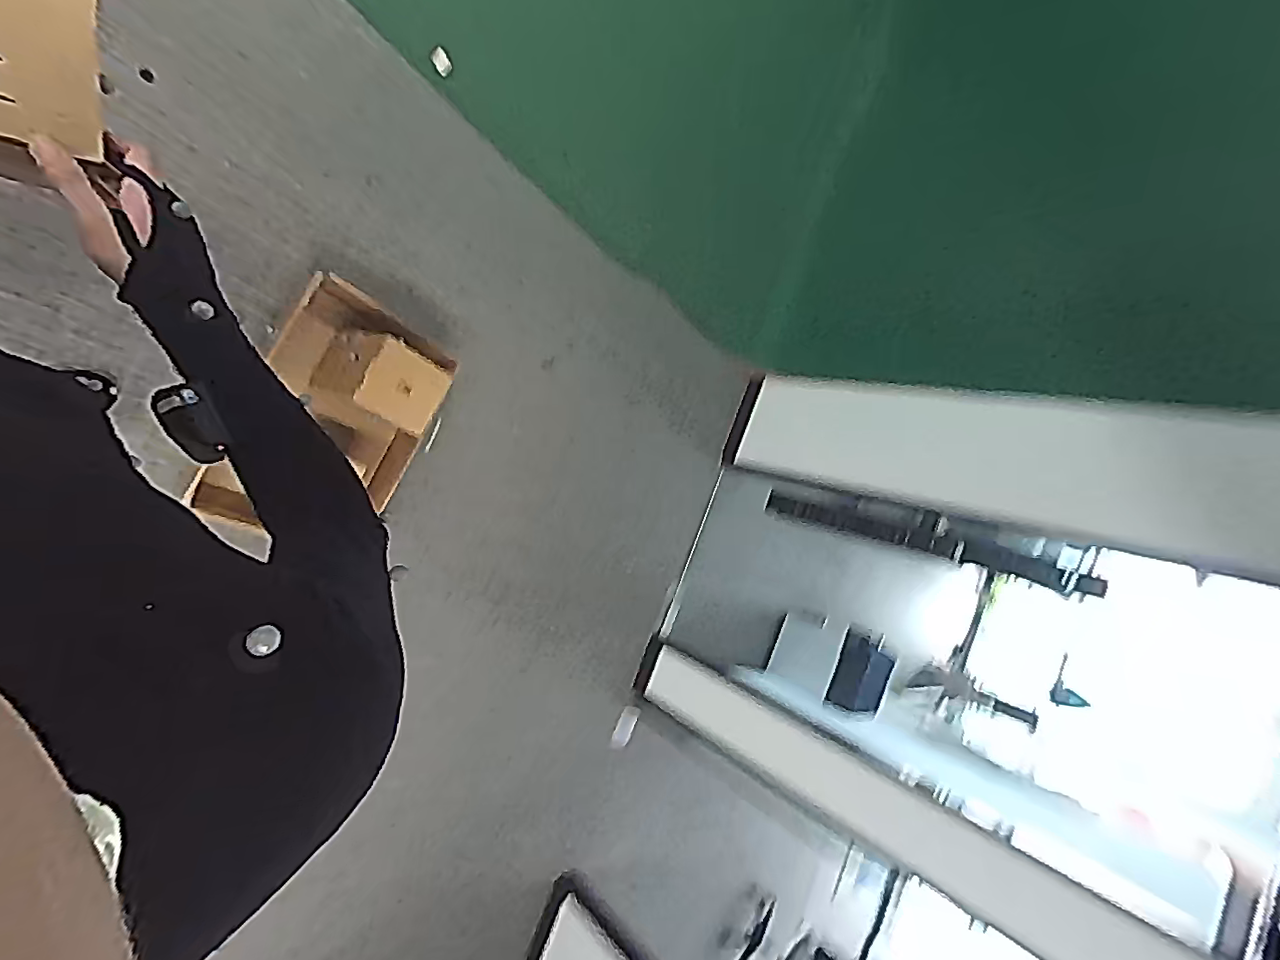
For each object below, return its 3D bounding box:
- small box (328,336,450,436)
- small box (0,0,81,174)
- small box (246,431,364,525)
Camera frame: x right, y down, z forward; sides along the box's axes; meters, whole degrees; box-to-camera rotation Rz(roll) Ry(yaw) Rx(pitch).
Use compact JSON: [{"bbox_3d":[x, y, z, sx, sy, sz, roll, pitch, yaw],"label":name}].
[{"bbox_3d":[-0.597,-0.229,1.286,0.179,0.176,0.168,35,77,-46],"label":"small box"},{"bbox_3d":[-0.530,-0.346,0.387,0.168,0.176,0.179,-8,106,-49],"label":"small box"},{"bbox_3d":[-0.834,-0.010,1.346,0.179,0.176,0.168,35,76,-45],"label":"small box"}]
